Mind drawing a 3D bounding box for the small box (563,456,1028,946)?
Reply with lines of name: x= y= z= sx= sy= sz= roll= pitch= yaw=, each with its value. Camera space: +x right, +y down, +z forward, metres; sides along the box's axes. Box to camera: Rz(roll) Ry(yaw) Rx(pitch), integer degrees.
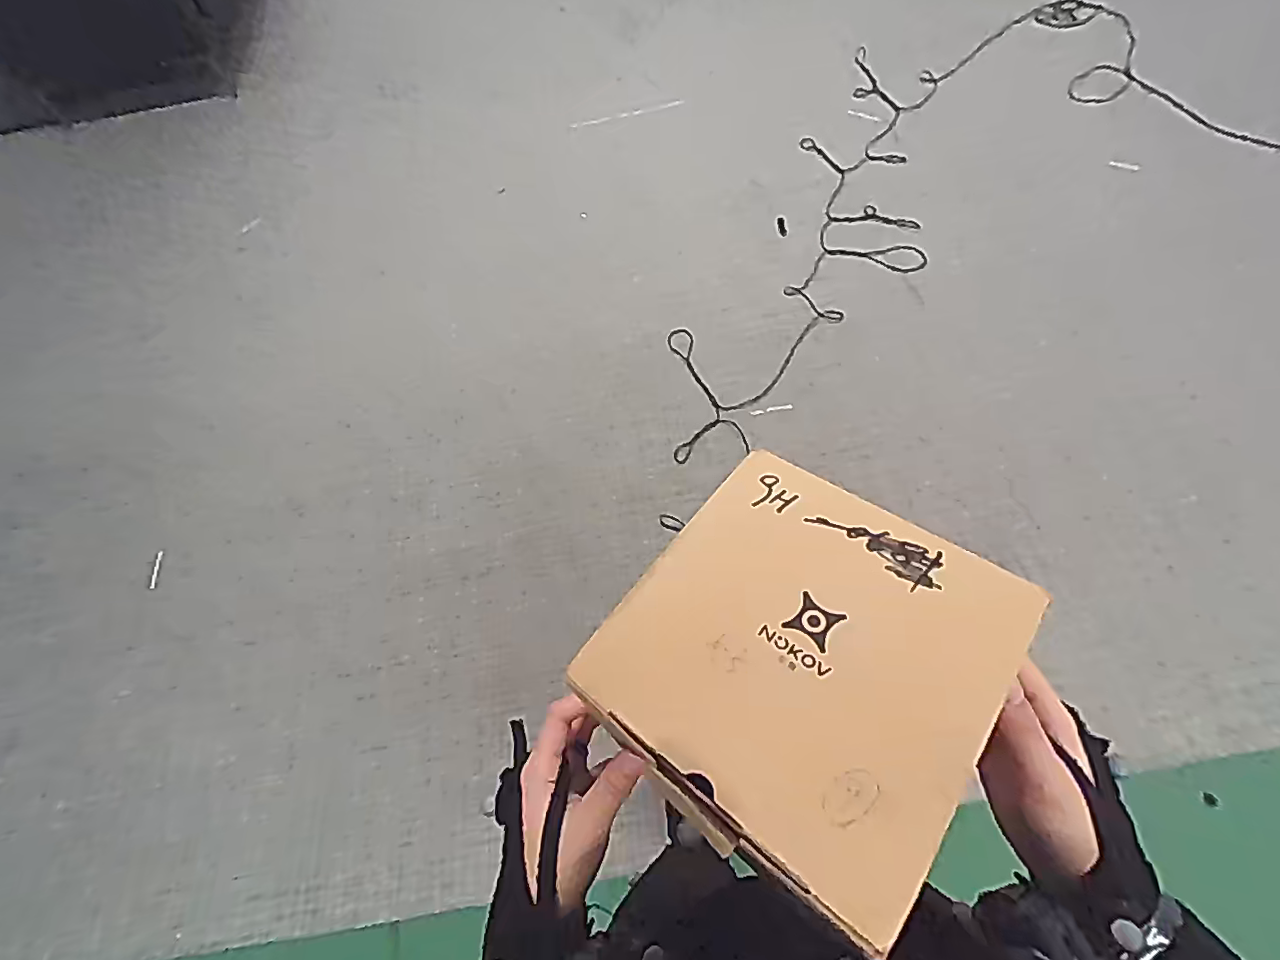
small box: x=0.087 y=0.125 z=0.331 sx=0.168 sy=0.176 sz=0.179 roll=30 pitch=65 yaw=27
